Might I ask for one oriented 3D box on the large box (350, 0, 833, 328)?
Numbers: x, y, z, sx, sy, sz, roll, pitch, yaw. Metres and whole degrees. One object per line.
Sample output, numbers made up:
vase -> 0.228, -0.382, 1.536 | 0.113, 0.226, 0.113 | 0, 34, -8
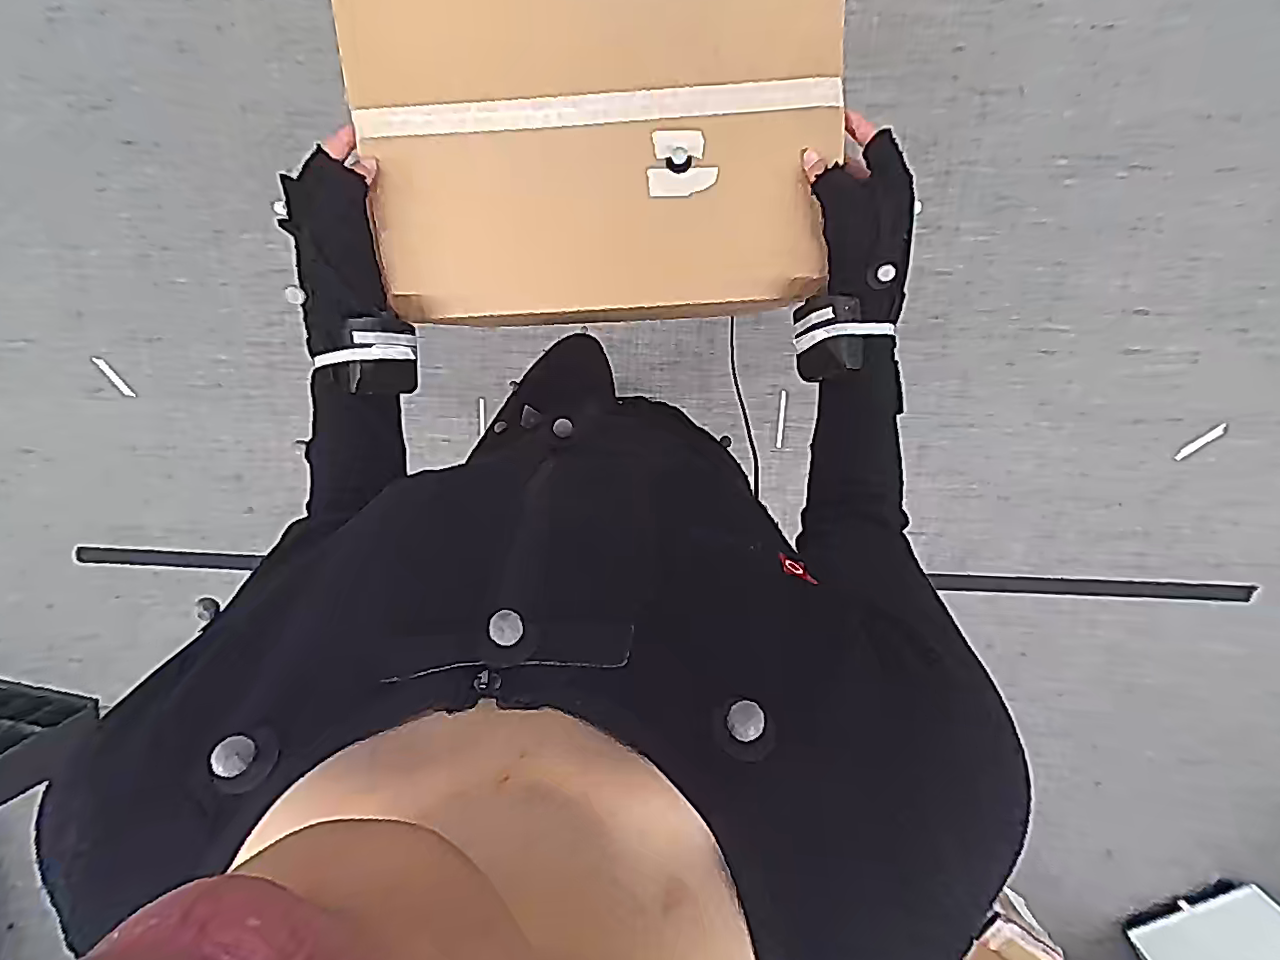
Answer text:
large box -> -0.037, -0.349, 0.607 | 0.408, 0.320, 0.320 | -3, 104, 1
